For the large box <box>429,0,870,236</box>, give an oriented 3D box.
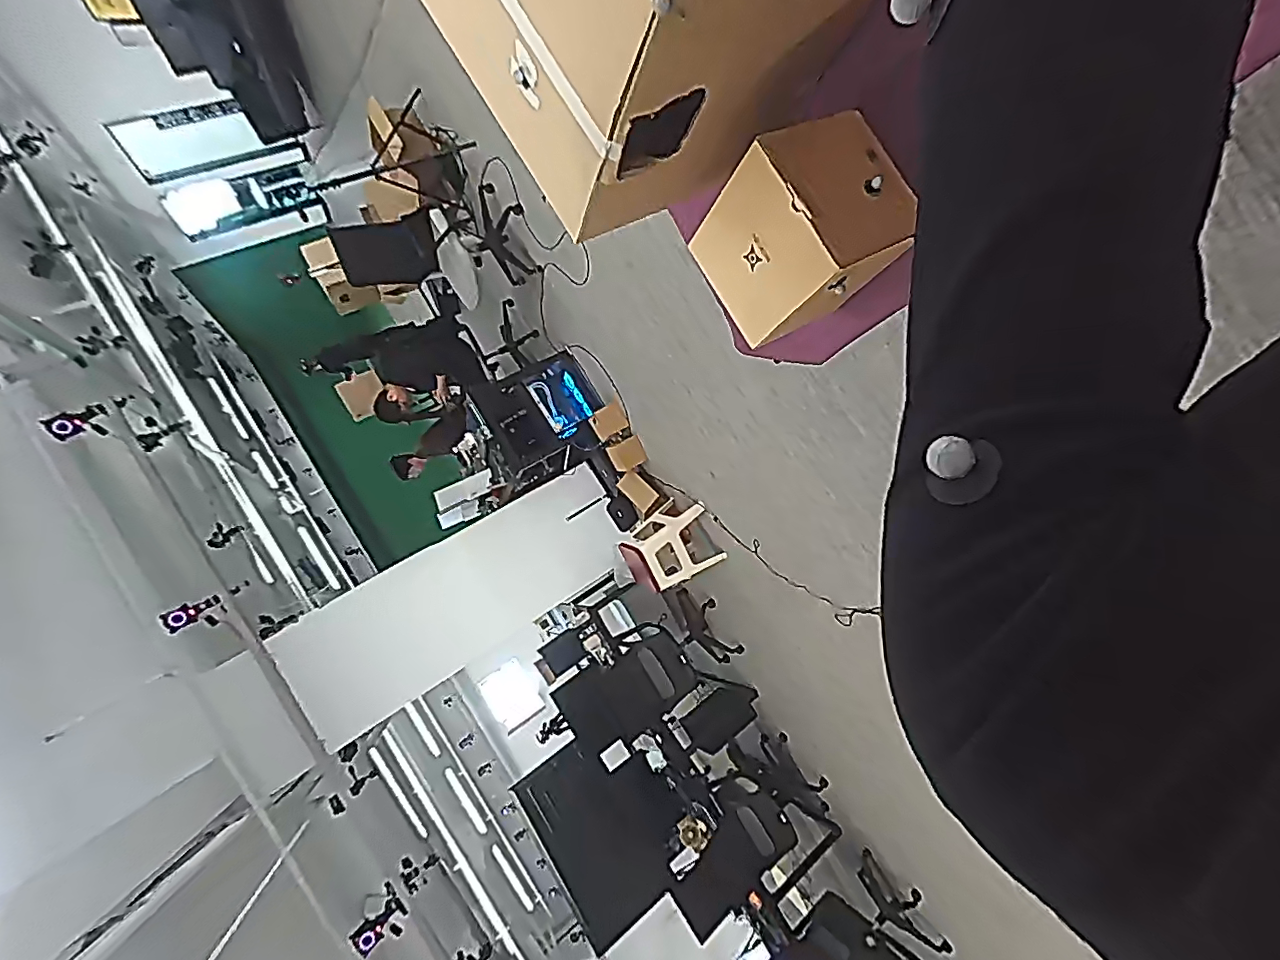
[{"bbox_3d":[-0.008,-0.573,0.589,0.408,0.320,0.320,56,159,0],"label":"large box"}]
